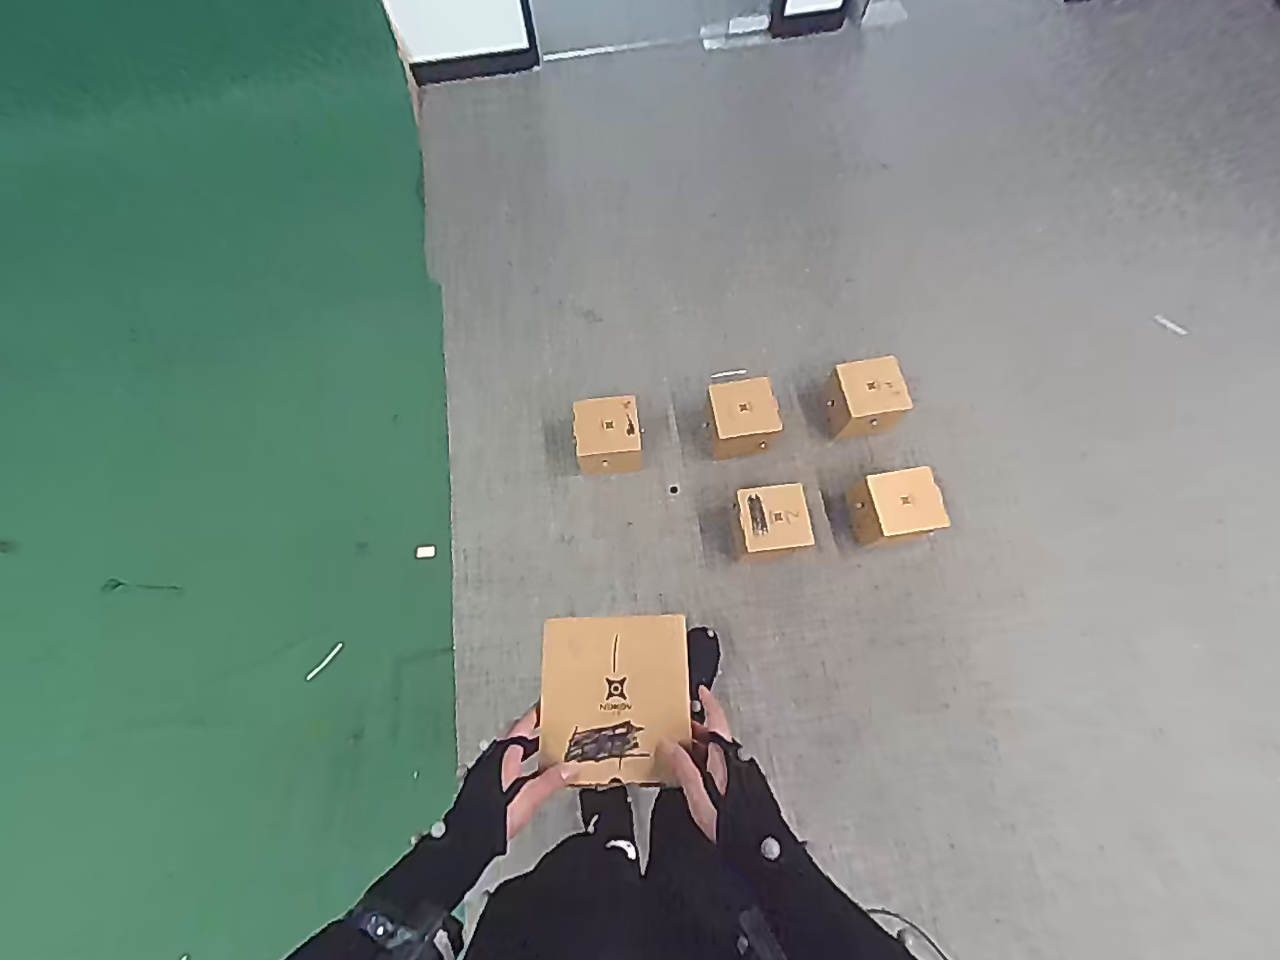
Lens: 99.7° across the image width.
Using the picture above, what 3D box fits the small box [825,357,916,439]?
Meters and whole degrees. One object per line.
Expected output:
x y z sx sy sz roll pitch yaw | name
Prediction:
0.647 -0.229 1.547 0.179 0.176 0.168 -9 72 -2 | small box

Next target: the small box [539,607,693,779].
-0.021 0.257 0.665 0.168 0.176 0.179 -1 68 1 | small box

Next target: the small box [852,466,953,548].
0.688 0.079 1.449 0.179 0.176 0.168 -9 72 -3 | small box

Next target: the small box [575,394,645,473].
-0.081 -0.125 1.527 0.179 0.176 0.168 -5 72 0 | small box

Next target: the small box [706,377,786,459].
0.294 -0.172 1.536 0.179 0.176 0.168 -8 71 -1 | small box
